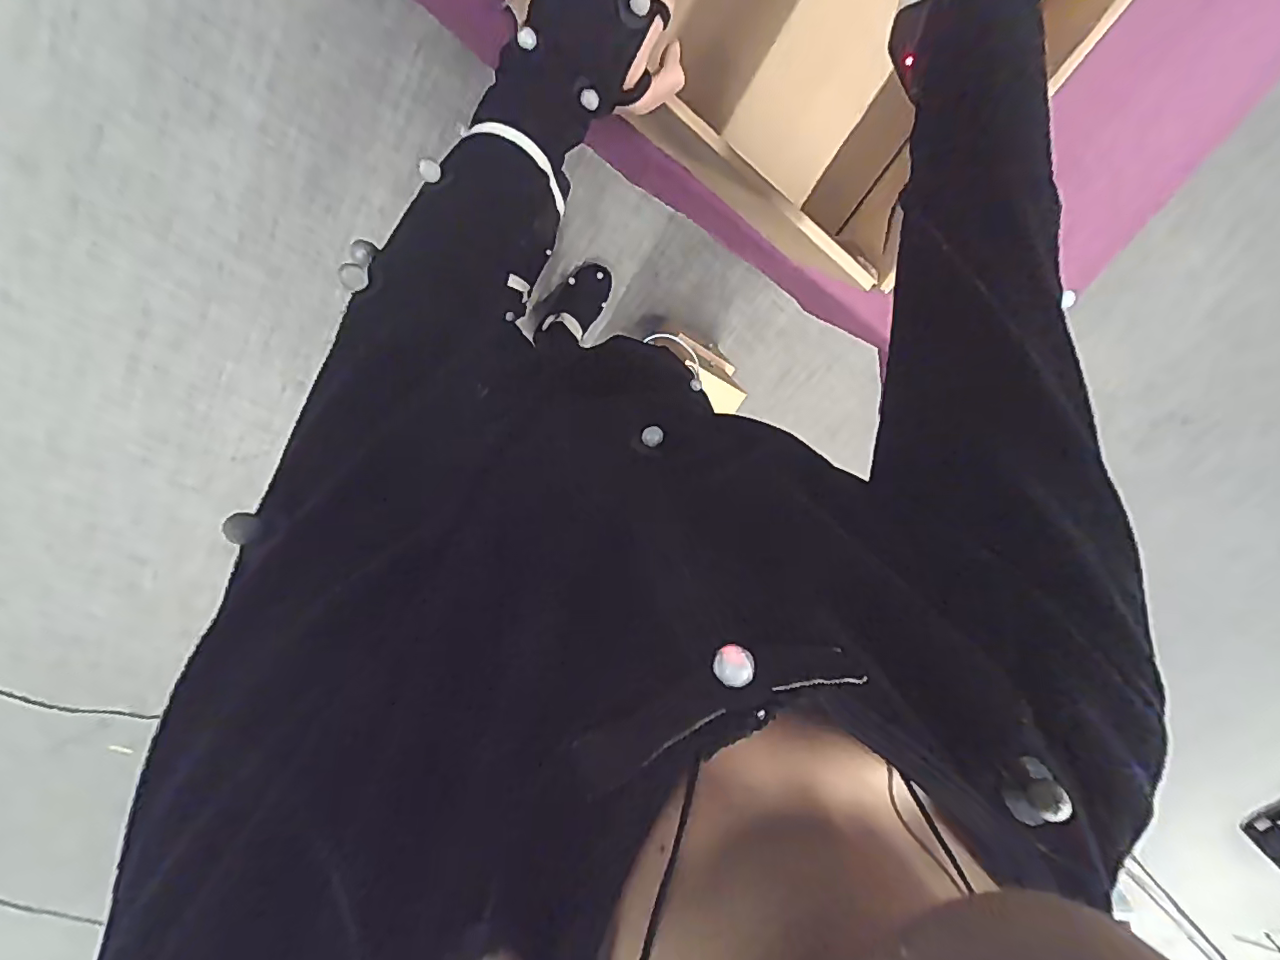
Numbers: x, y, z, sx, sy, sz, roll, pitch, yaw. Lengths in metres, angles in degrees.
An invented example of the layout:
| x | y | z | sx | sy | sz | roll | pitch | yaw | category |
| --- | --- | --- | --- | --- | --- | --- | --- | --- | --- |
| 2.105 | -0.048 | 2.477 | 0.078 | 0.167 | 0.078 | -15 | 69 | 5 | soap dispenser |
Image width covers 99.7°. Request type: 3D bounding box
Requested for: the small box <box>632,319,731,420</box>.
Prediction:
| x | y | z | sx | sy | sz | roll | pitch | yaw | category |
| --- | --- | --- | --- | --- | --- | --- | --- | --- | --- |
| 0.100 | -0.289 | 1.389 | 0.179 | 0.176 | 0.168 | 26 | 112 | -22 | small box |
